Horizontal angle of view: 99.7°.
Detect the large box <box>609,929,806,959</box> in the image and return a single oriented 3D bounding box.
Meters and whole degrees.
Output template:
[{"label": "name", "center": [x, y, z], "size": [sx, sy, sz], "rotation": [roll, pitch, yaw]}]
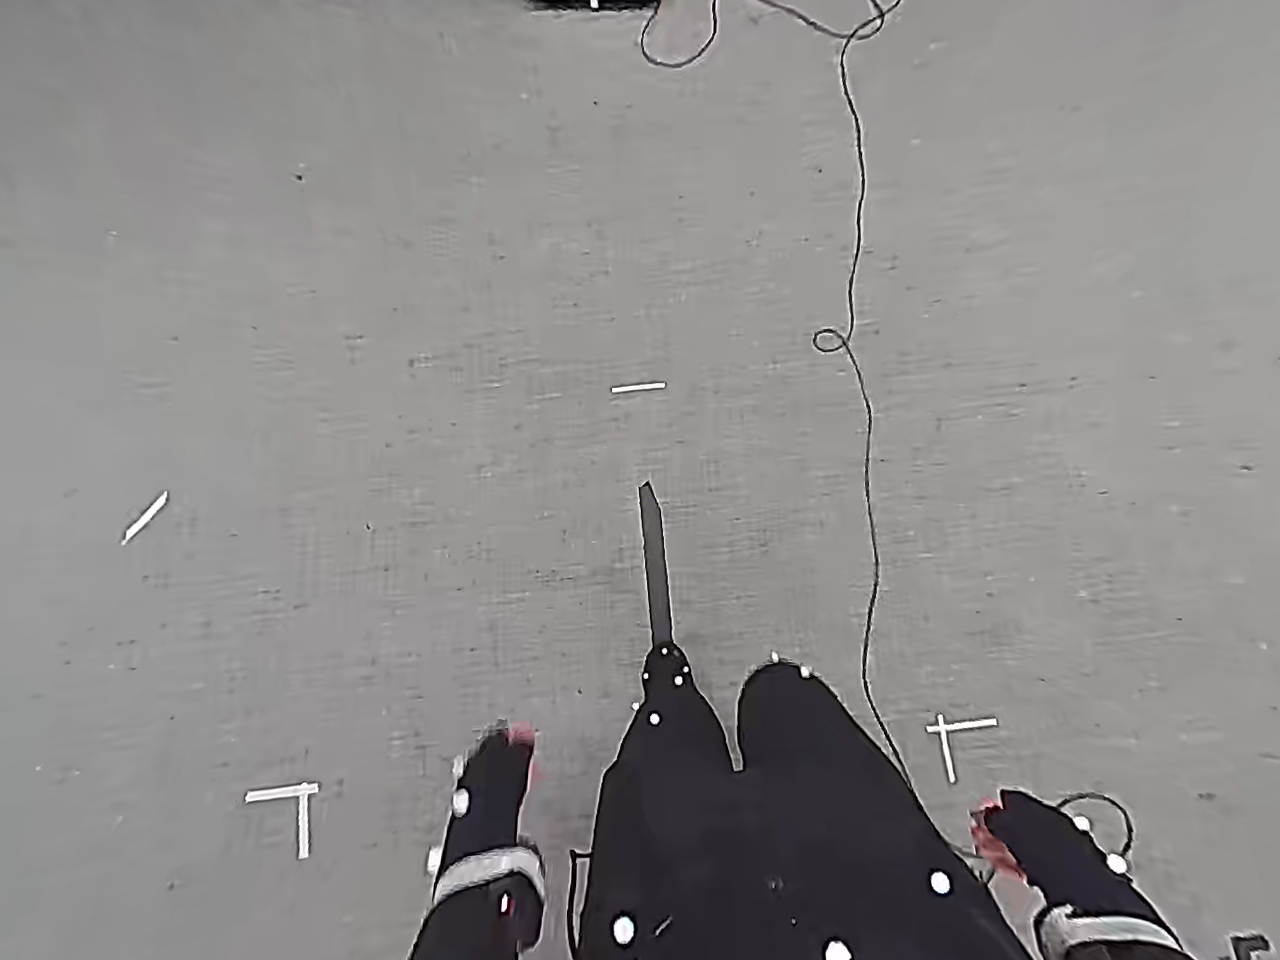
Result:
[{"label": "large box", "center": [0.130, 1.094, 0.989], "size": [0.408, 0.320, 0.320], "rotation": [1, 80, 4]}]
